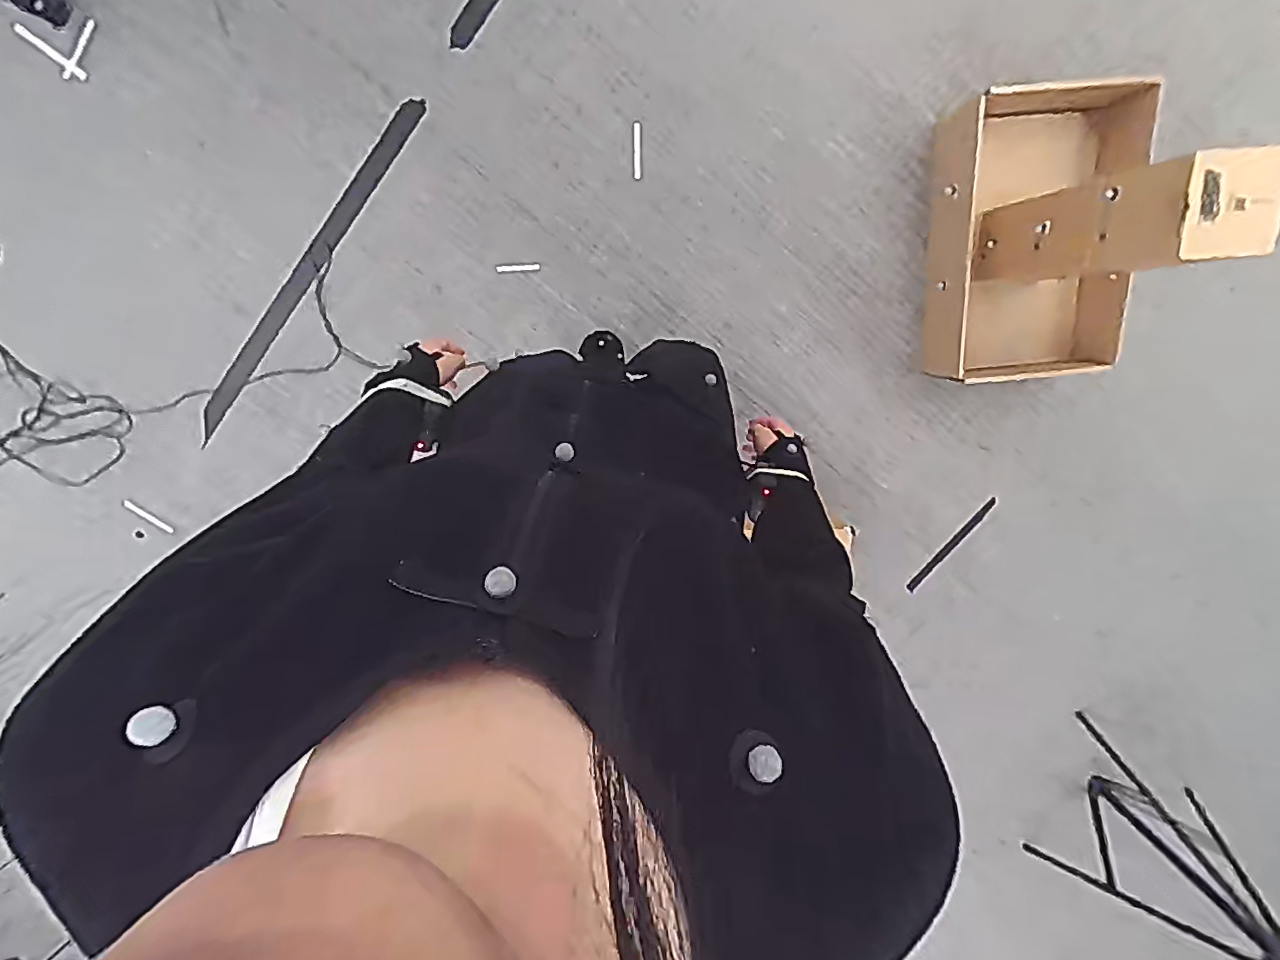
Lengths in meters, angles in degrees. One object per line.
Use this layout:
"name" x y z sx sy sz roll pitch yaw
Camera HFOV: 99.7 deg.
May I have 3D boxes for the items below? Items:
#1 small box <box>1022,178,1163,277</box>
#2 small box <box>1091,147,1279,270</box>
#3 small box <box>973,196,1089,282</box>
"small box" 0.947 -0.517 1.122 0.179 0.176 0.168 -3 105 -2
"small box" 0.962 -0.474 0.964 0.179 0.176 0.168 -5 106 -4
"small box" 0.935 -0.563 1.277 0.179 0.176 0.168 -2 106 -3
